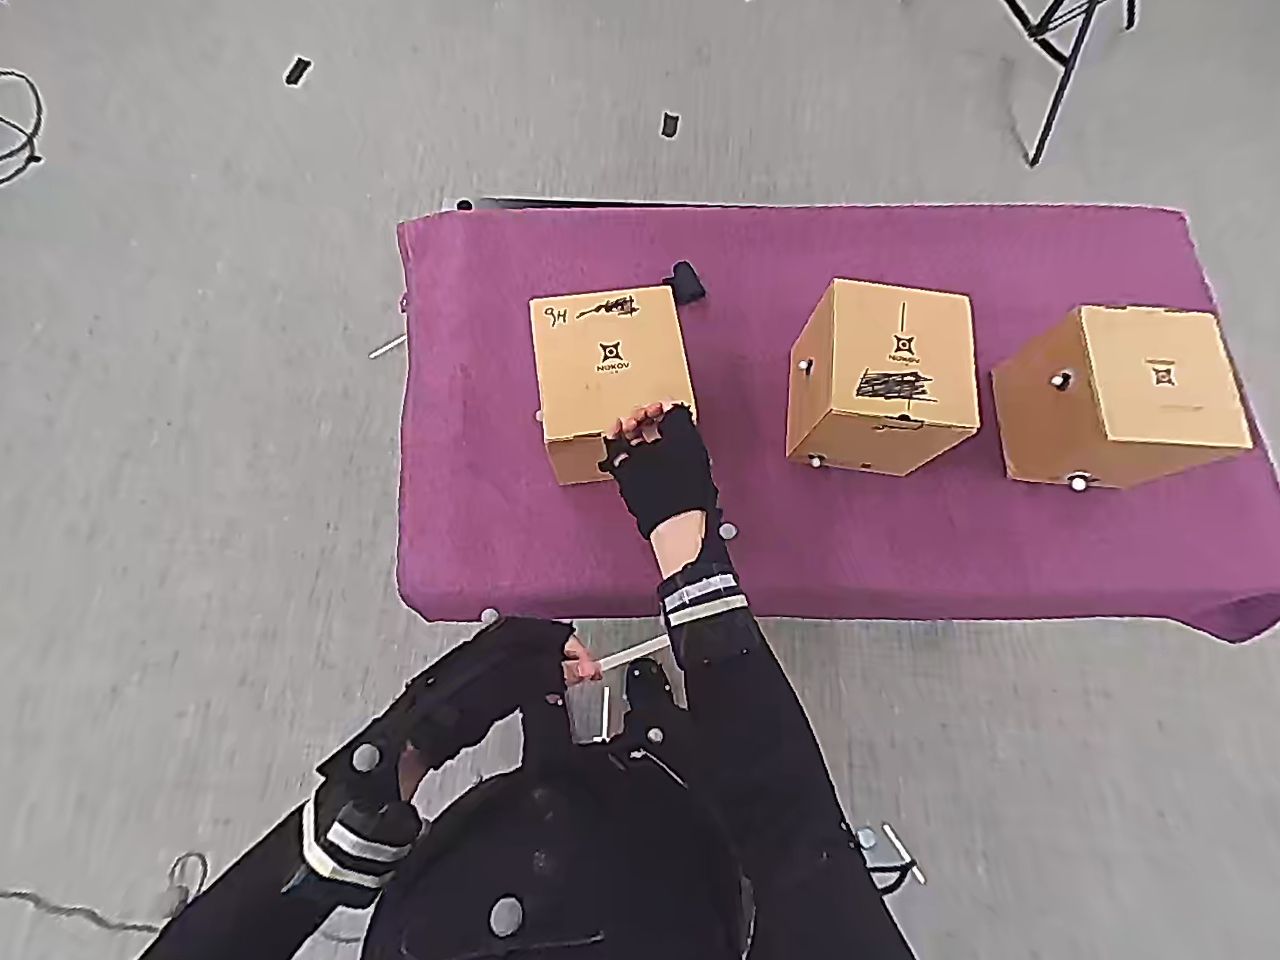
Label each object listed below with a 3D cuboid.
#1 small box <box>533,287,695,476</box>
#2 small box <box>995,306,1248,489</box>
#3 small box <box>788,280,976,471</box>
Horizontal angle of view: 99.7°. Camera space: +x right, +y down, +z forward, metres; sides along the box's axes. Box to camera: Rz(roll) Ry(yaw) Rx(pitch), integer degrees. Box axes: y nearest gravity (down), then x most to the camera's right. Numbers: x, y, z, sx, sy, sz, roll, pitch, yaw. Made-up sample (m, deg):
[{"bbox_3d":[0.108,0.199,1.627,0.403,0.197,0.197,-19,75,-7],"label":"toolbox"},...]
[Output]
[{"bbox_3d":[-0.034,-0.110,0.675,0.168,0.176,0.179,-7,74,-5],"label":"small box"},{"bbox_3d":[0.597,-0.099,0.702,0.168,0.176,0.179,3,73,0],"label":"small box"},{"bbox_3d":[0.296,-0.122,0.694,0.168,0.176,0.179,8,72,0],"label":"small box"}]
